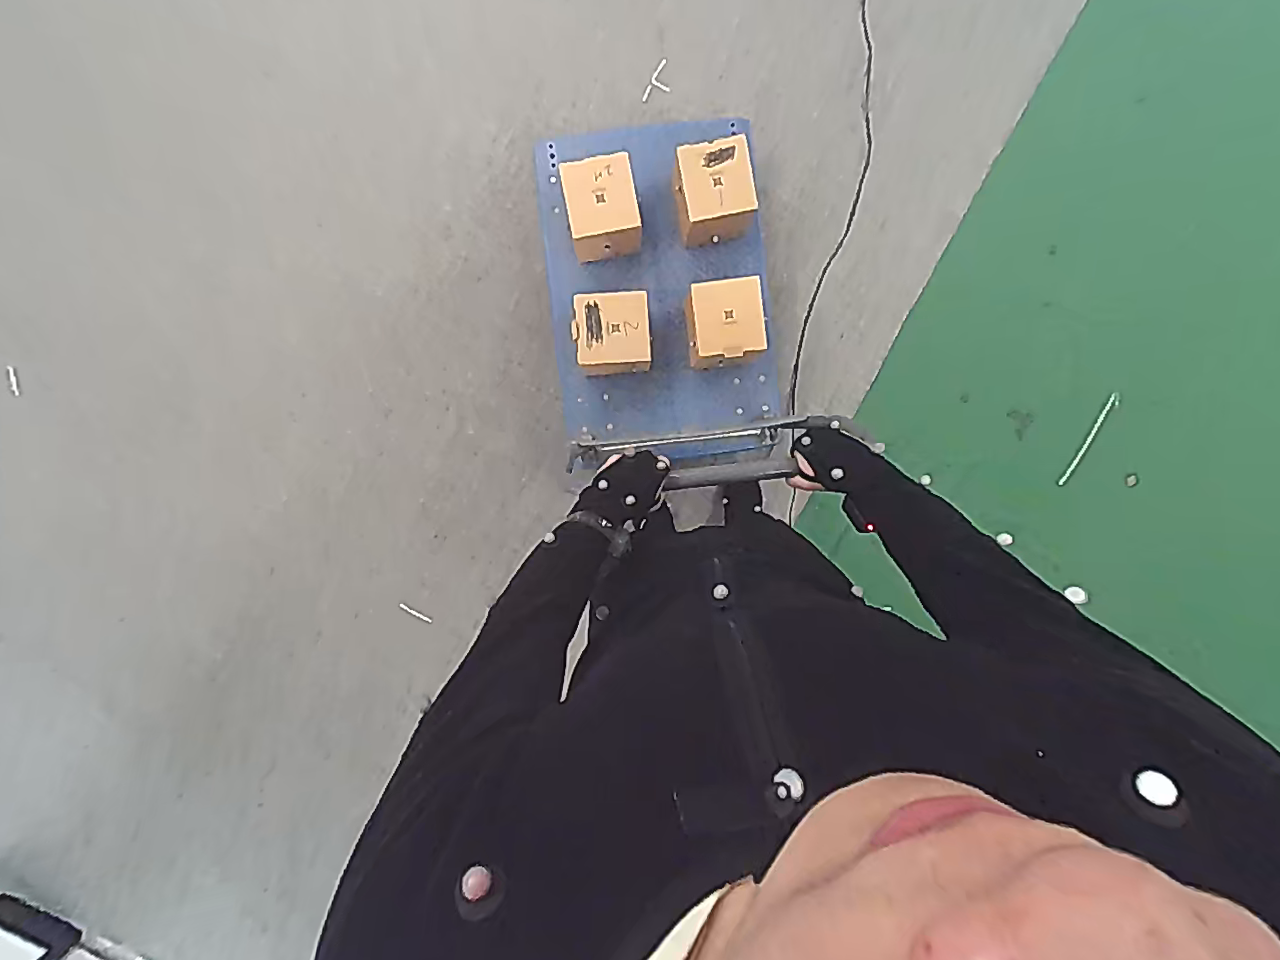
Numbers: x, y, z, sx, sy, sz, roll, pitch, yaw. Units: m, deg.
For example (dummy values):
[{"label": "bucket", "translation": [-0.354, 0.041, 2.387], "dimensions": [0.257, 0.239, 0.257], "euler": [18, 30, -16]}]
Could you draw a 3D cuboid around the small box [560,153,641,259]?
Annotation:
[{"label": "small box", "translation": [-0.092, -0.660, 1.329], "dimensions": [0.168, 0.176, 0.179], "euler": [-11, 93, -1]}]

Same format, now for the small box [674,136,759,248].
[{"label": "small box", "translation": [0.181, -0.700, 1.331], "dimensions": [0.168, 0.176, 0.179], "euler": [-11, 94, 0]}]

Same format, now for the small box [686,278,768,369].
[{"label": "small box", "translation": [0.211, -0.384, 1.349], "dimensions": [0.168, 0.176, 0.179], "euler": [-7, 93, 0]}]
